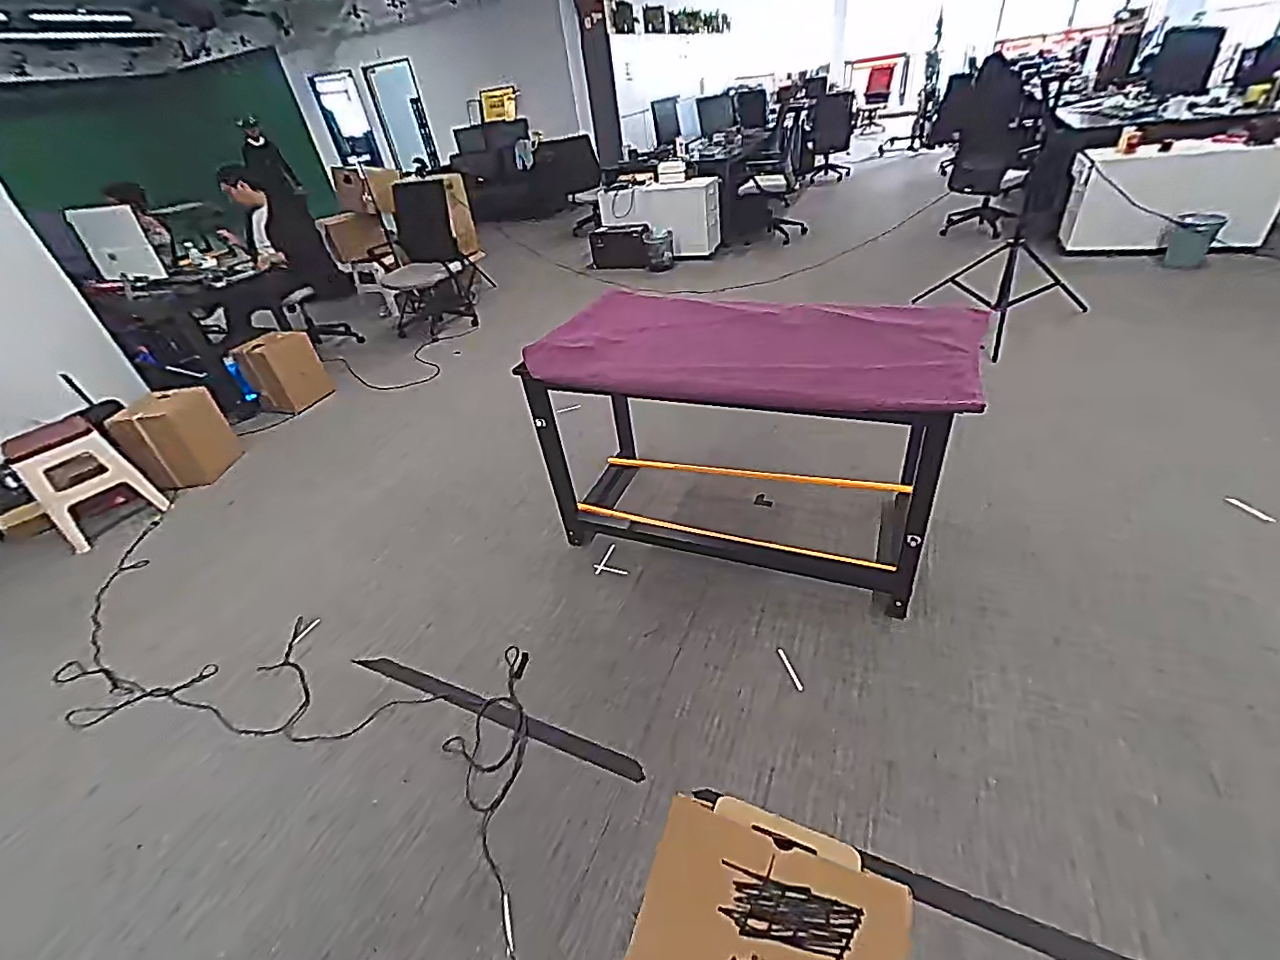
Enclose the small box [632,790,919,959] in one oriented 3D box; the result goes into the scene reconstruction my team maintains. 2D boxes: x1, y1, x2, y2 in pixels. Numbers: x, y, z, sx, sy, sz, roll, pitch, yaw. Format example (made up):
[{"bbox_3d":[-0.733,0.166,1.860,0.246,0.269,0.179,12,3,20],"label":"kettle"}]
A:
[{"bbox_3d":[0.087,0.363,0.388,0.168,0.176,0.179,11,51,21],"label":"small box"}]
